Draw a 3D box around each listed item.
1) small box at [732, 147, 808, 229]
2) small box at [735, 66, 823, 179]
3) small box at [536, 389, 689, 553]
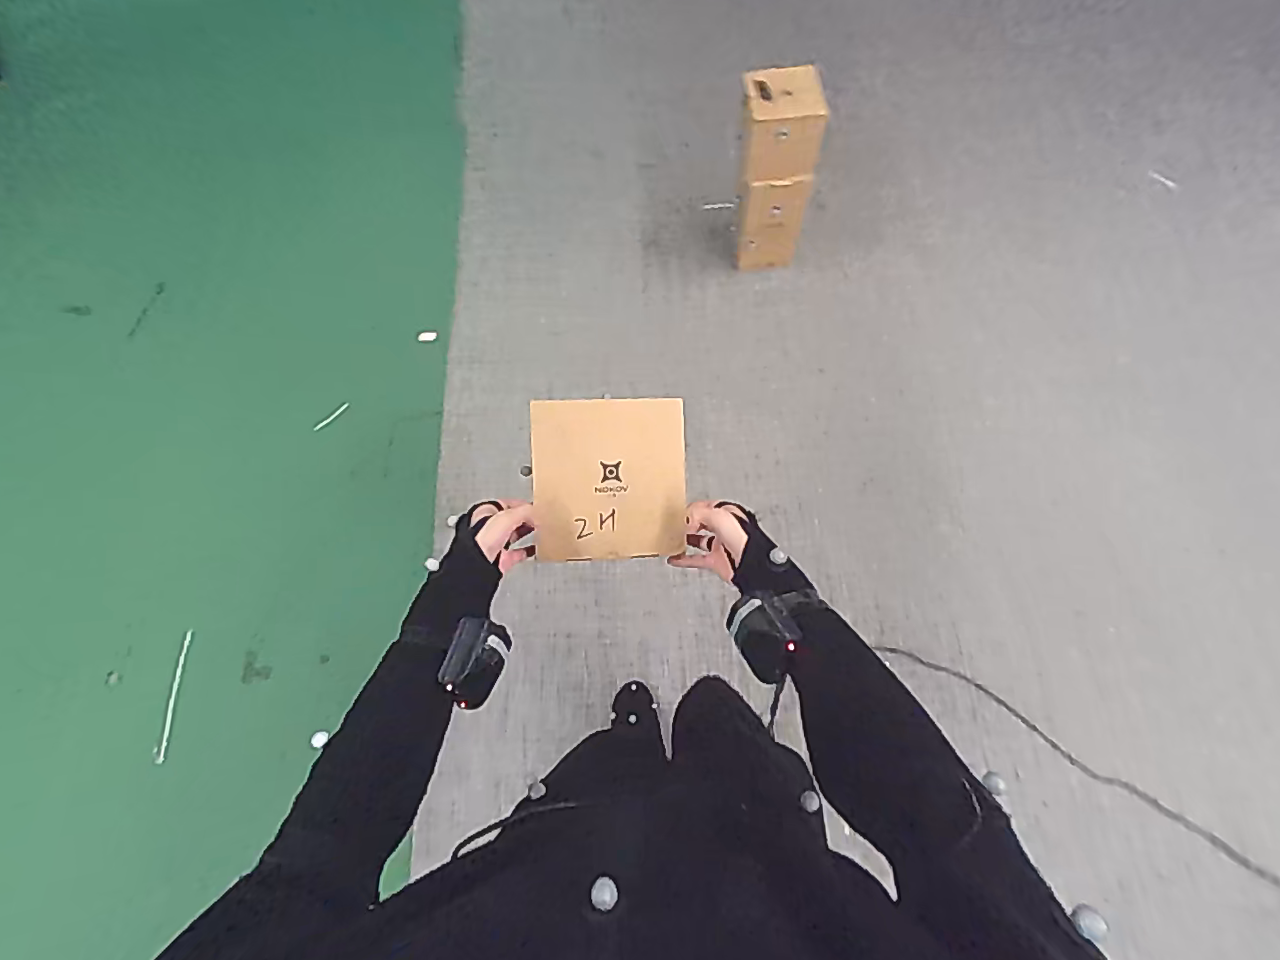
[{"bbox_3d":[0.353,-0.821,1.496,0.168,0.176,0.179,-6,71,1],"label":"small box"},{"bbox_3d":[0.334,-0.880,1.343,0.179,0.176,0.168,-5,70,1],"label":"small box"},{"bbox_3d":[-0.038,-0.013,0.656,0.168,0.176,0.179,-1,94,-6],"label":"small box"}]
